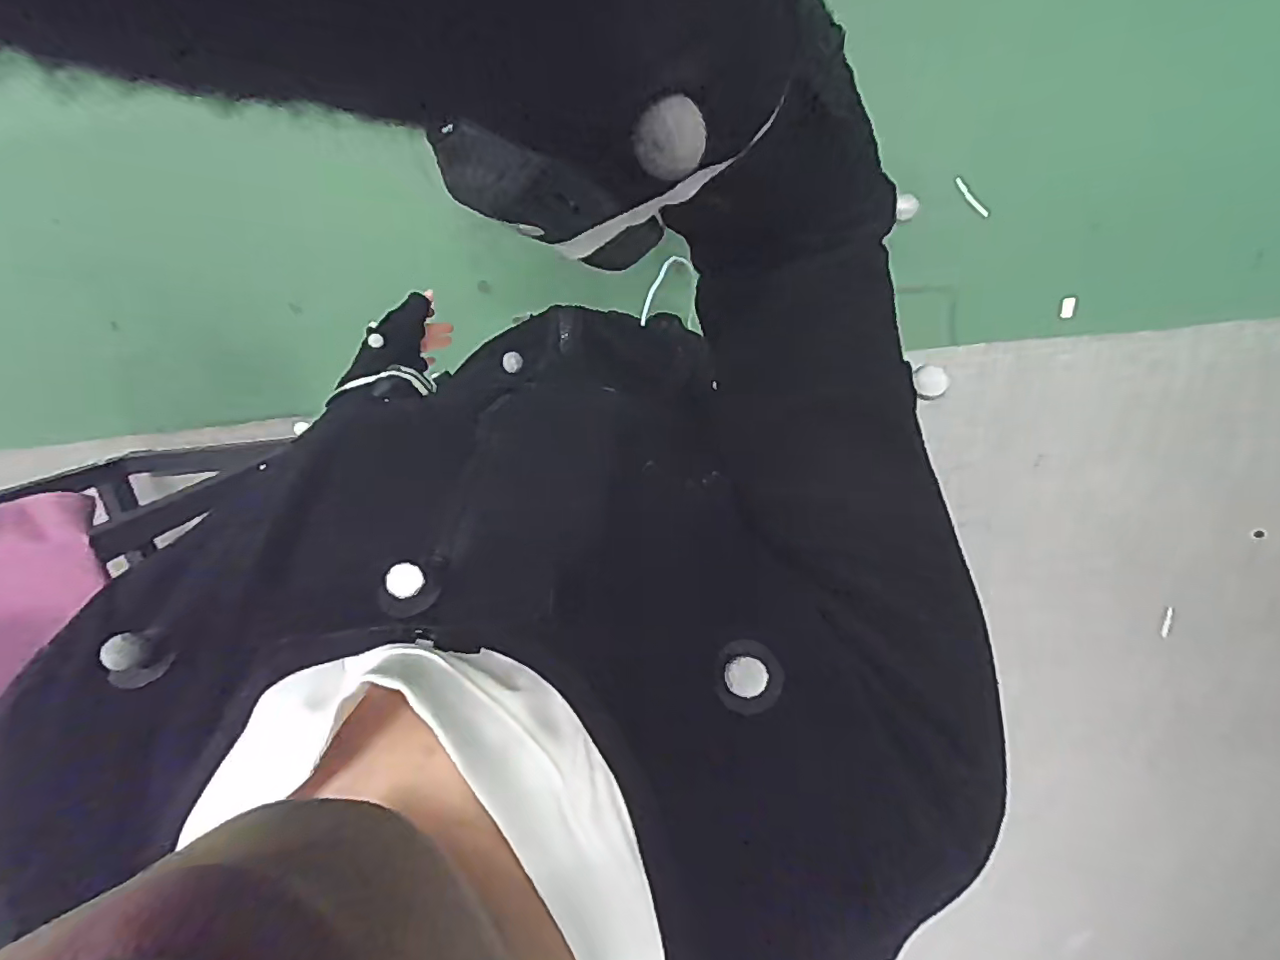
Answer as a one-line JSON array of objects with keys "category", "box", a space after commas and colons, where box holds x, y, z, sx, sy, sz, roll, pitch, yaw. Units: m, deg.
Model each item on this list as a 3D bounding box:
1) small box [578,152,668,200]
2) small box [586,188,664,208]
[{"category": "small box", "box": [-0.038, -0.655, 1.036, 0.168, 0.176, 0.179, -6, 109, 3]}, {"category": "small box", "box": [-0.035, -0.714, 1.188, 0.168, 0.176, 0.179, -3, 109, 3]}]
